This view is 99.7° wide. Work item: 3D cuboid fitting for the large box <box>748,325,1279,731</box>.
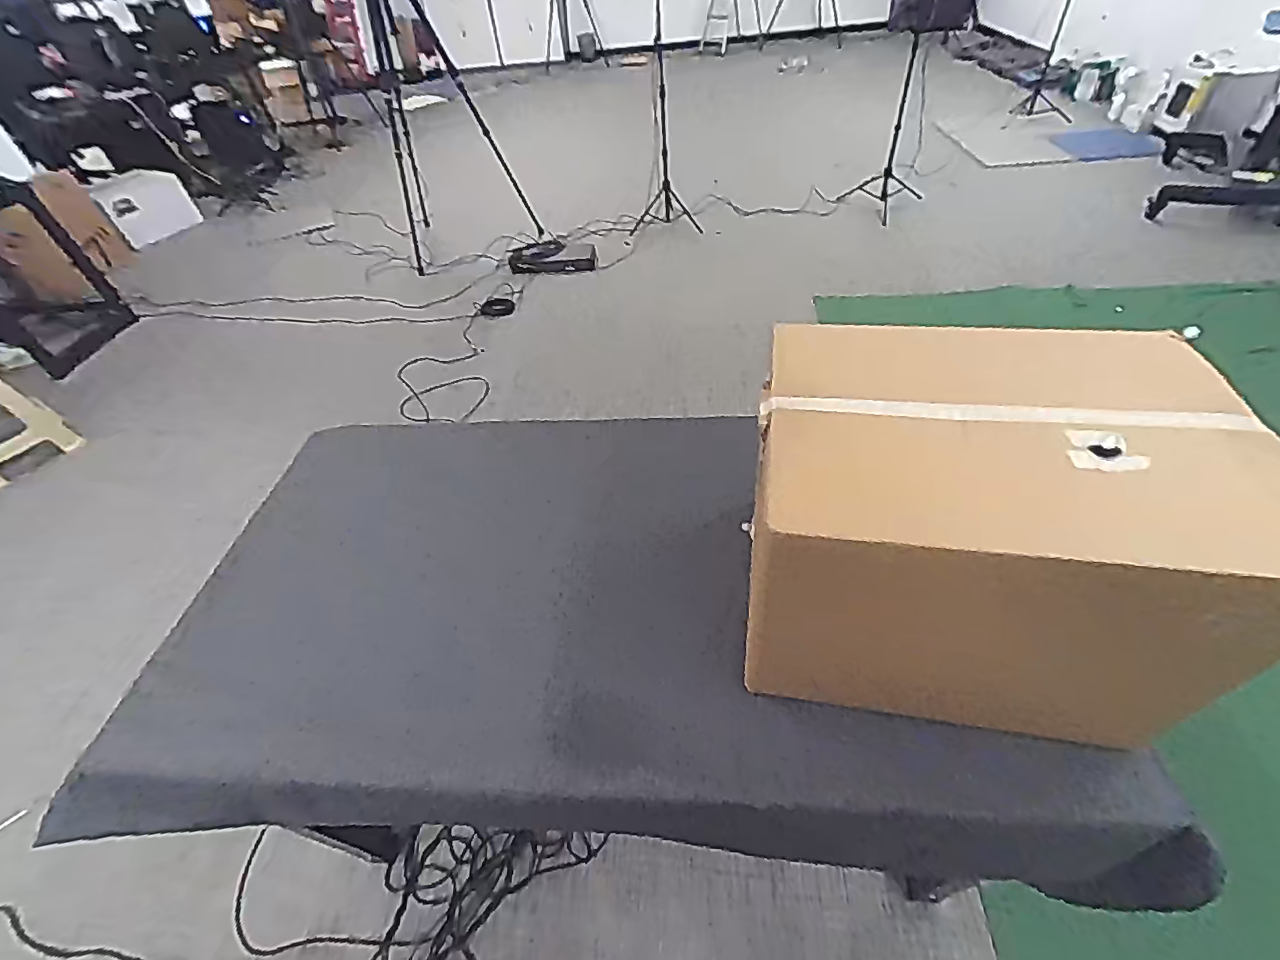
[{"bbox_3d":[0.336,0.045,0.602,0.408,0.320,0.320,5,48,10],"label":"large box"}]
